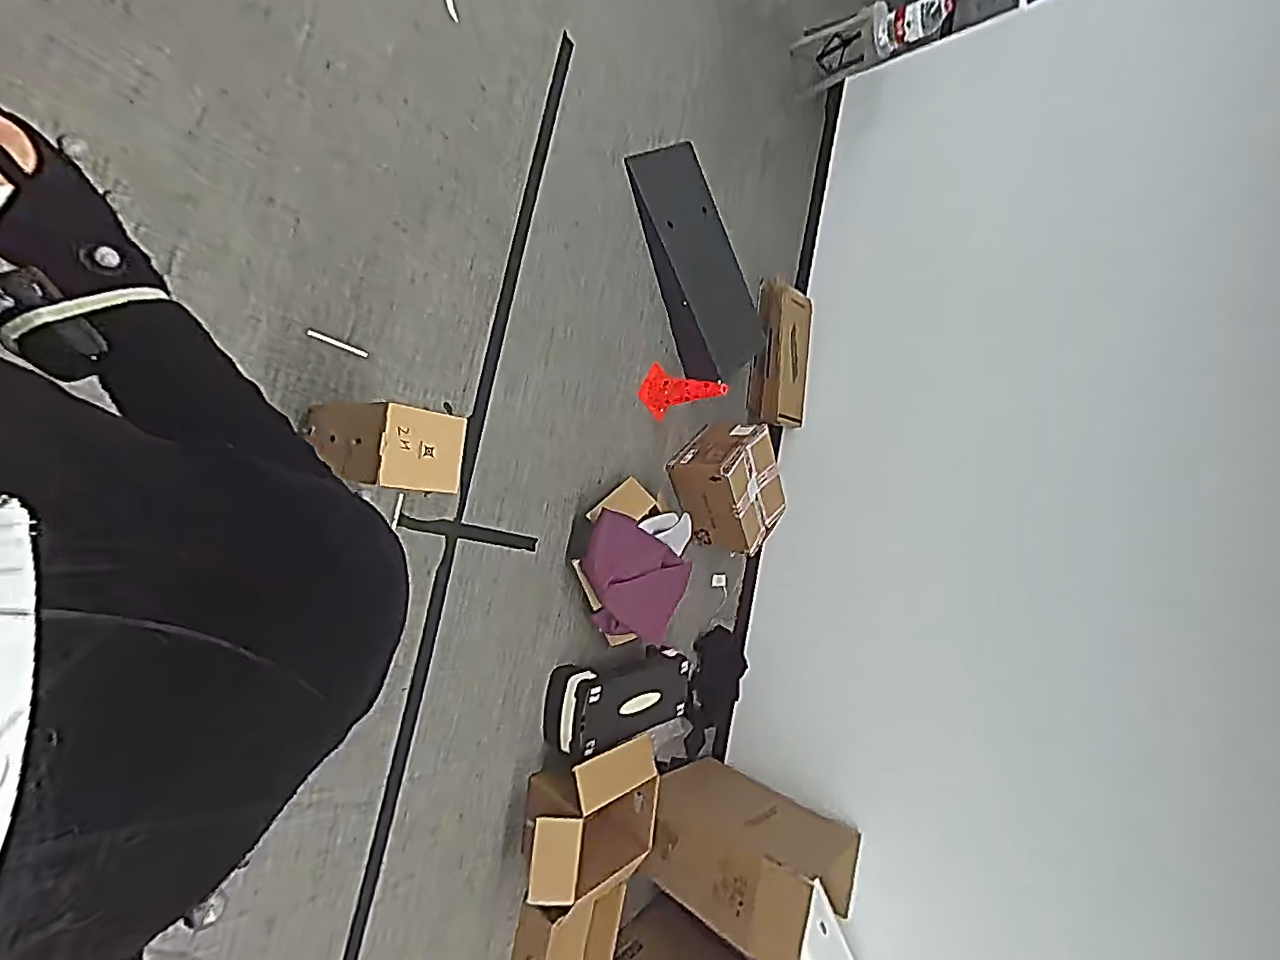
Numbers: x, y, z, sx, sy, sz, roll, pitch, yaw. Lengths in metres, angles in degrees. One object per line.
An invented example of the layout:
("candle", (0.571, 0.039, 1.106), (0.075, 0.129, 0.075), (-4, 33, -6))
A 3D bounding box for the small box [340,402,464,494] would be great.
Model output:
("small box", (-0.505, -0.067, 1.151), (0.179, 0.176, 0.168), (10, 86, -50))

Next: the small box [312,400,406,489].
("small box", (-0.631, -0.078, 1.259), (0.179, 0.176, 0.168), (17, 81, -49))

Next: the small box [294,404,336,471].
("small box", (-0.745, -0.091, 1.377), (0.179, 0.176, 0.168), (16, 81, -48))
